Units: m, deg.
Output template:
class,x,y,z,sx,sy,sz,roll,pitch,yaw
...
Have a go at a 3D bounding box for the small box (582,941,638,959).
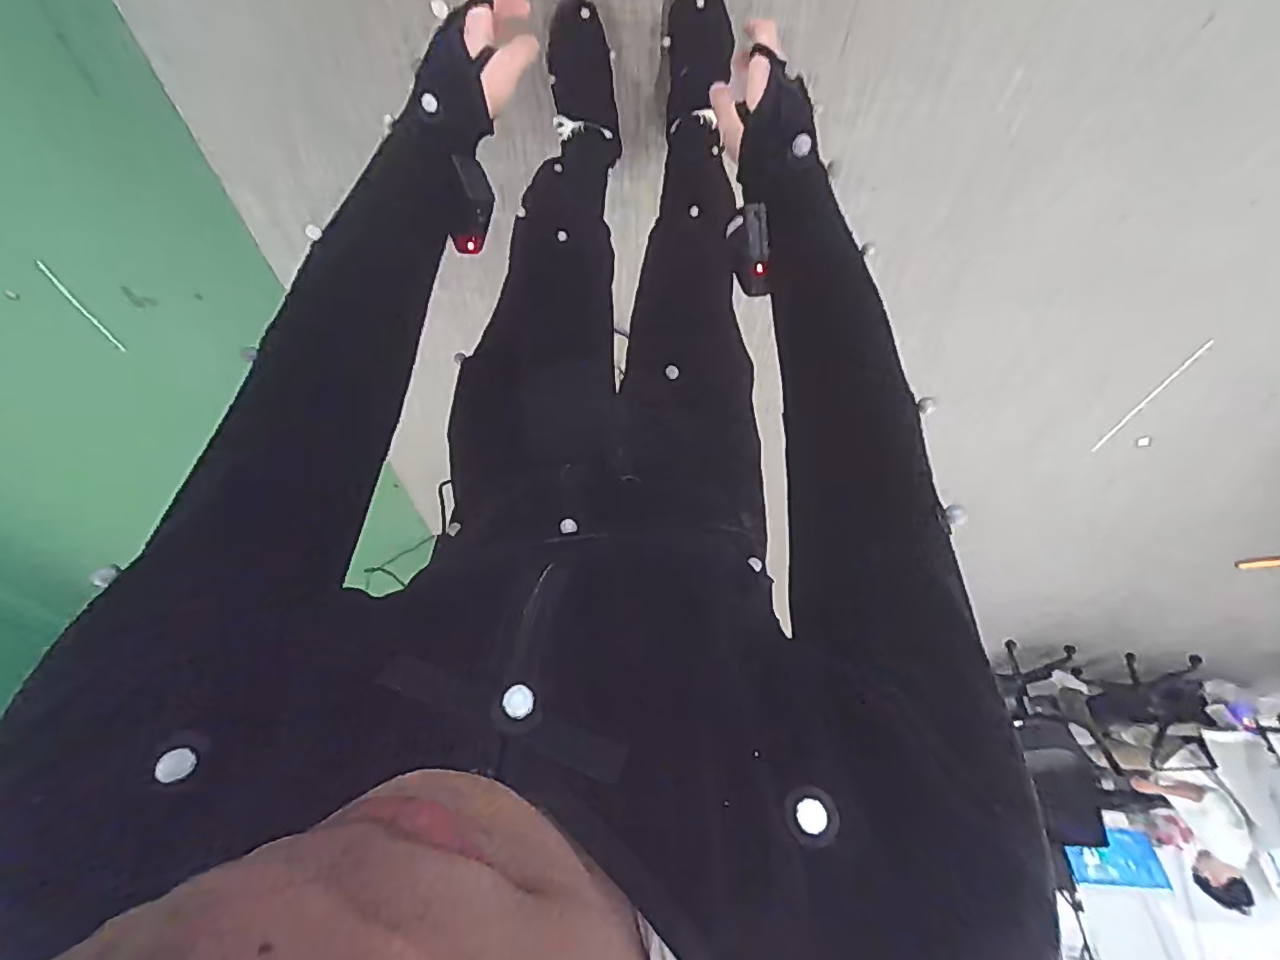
class,x,y,z,sx,sy,sz,roll,pitch,yaw
small box,-0.104,1.631,1.765,0.179,0.176,0.168,2,146,5
